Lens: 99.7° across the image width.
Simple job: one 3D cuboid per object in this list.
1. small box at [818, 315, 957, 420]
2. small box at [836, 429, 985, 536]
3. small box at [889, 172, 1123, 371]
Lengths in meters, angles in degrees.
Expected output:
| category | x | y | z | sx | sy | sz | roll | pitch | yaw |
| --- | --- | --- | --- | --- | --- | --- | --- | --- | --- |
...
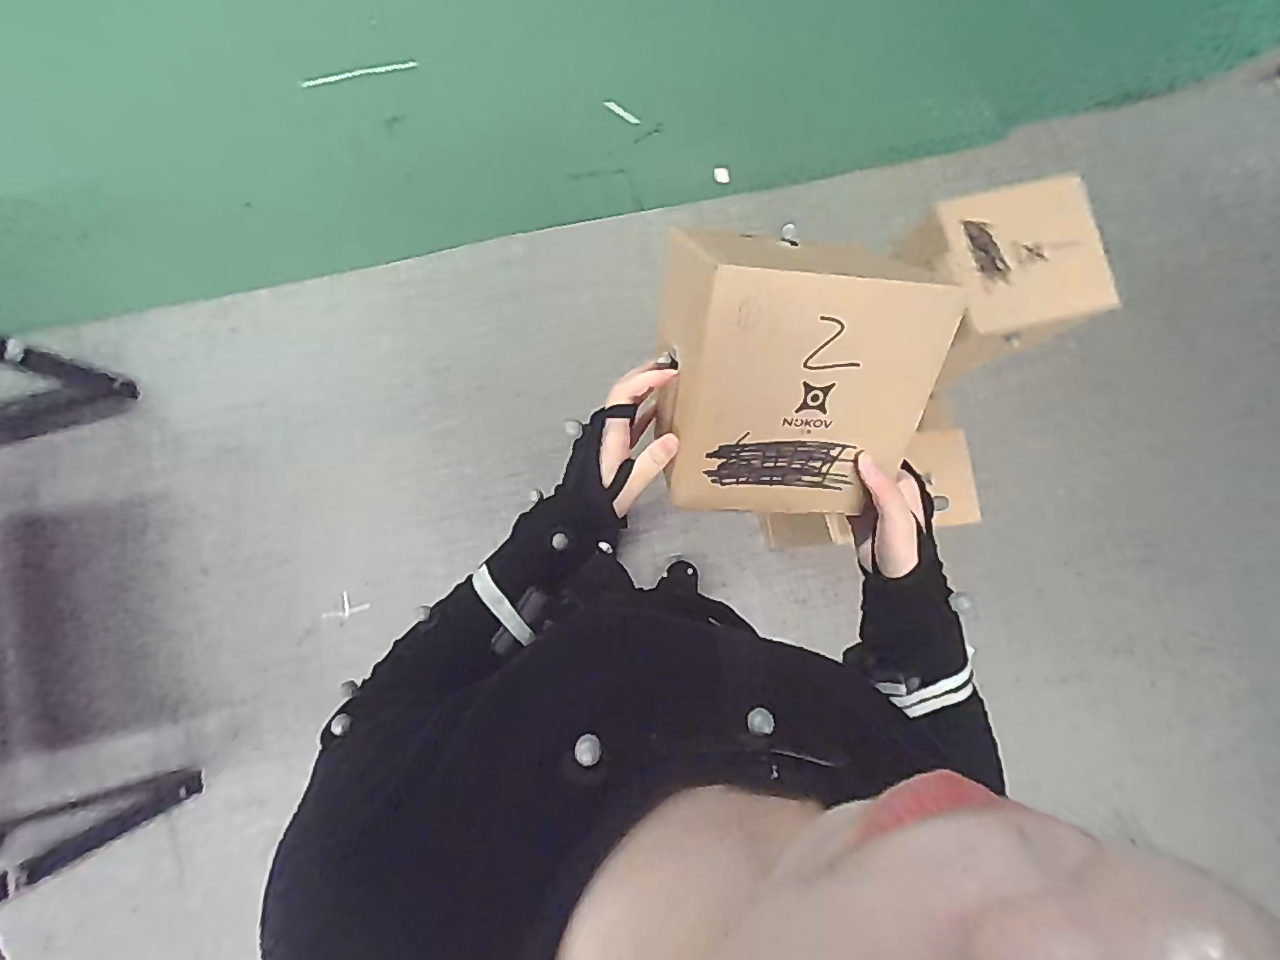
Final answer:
| category | x | y | z | sx | sy | sz | roll | pitch | yaw |
| --- | --- | --- | --- | --- | --- | --- | --- | --- | --- |
| small box | 0.453 | -0.219 | 1.025 | 0.179 | 0.176 | 0.168 | -10 | 85 | -1 |
| small box | 0.484 | 0.011 | 0.992 | 0.179 | 0.176 | 0.168 | -5 | 81 | 0 |
| small box | 0.448 | -0.254 | 0.699 | 0.179 | 0.176 | 0.168 | -12 | 84 | -2 |
